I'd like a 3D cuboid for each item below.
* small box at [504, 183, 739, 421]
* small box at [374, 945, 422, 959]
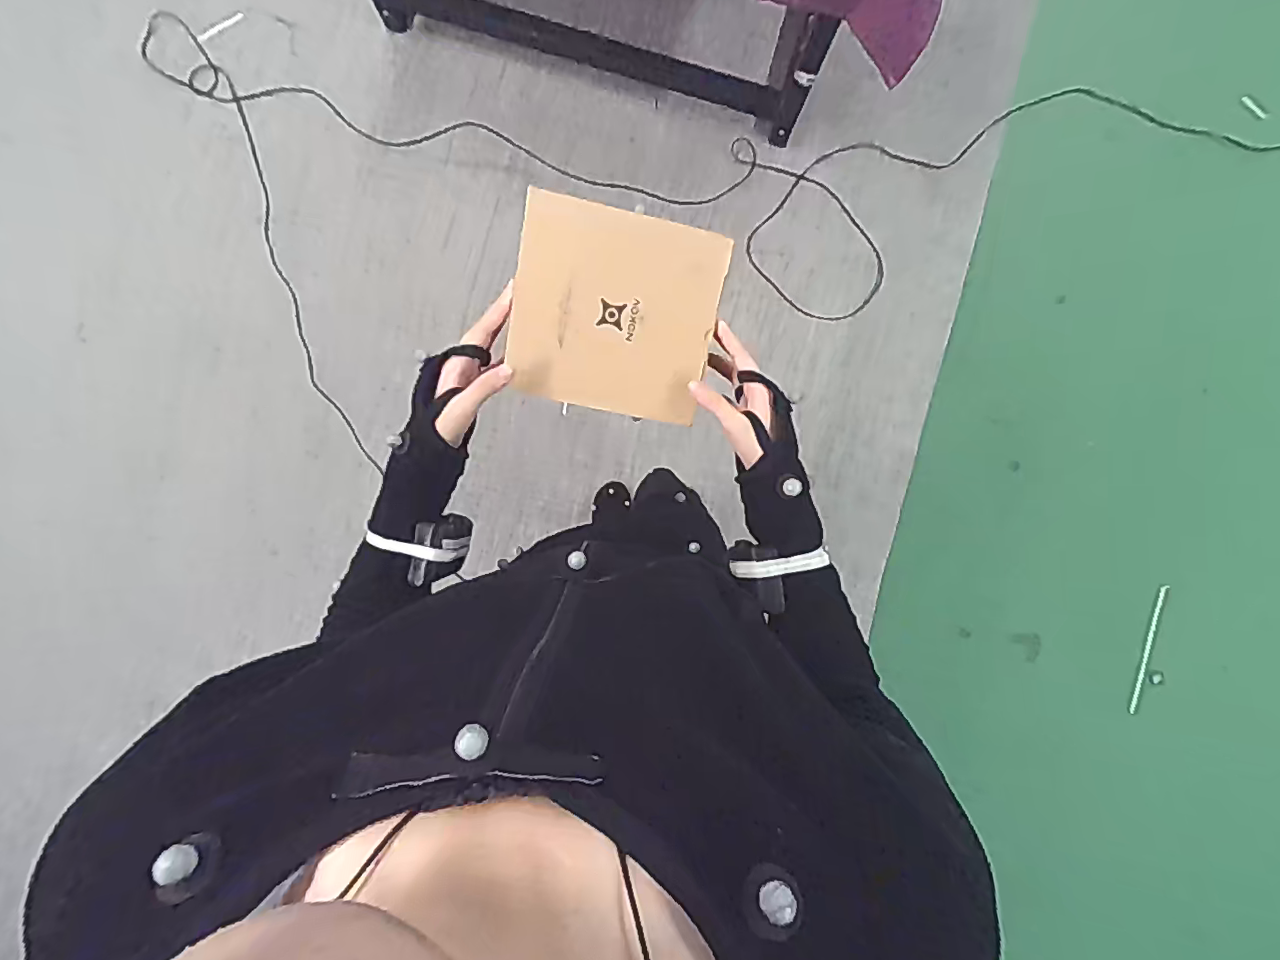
[{"bbox_3d":[-0.023,-0.168,0.538,0.179,0.176,0.168,11,105,-7],"label":"small box"},{"bbox_3d":[-0.591,1.251,1.259,0.168,0.176,0.179,22,89,0],"label":"small box"}]
